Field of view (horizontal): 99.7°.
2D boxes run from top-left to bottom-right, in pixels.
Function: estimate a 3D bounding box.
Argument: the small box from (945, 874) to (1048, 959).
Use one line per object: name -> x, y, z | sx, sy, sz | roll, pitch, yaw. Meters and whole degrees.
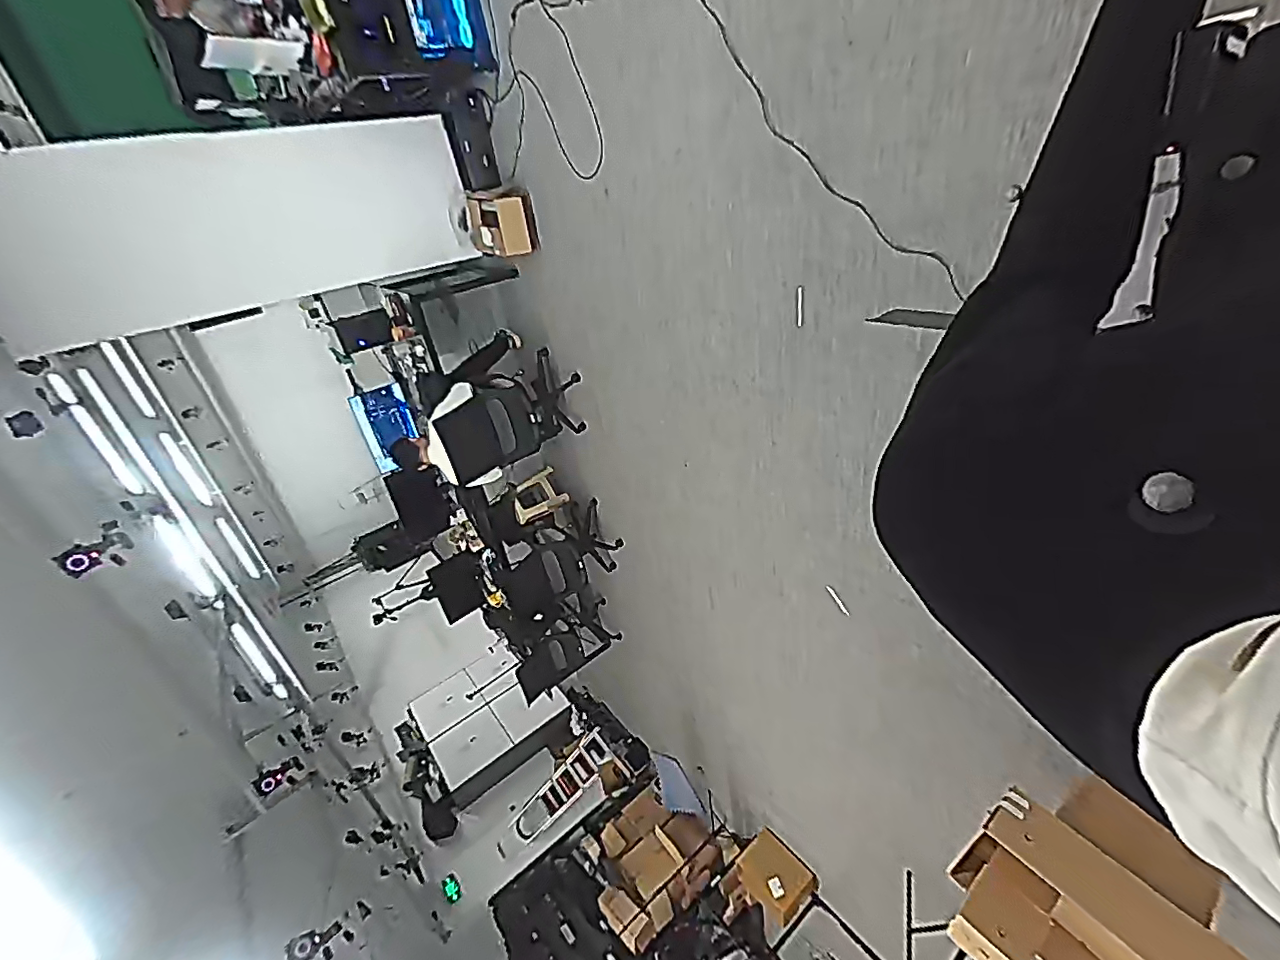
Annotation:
small box -> 1.005, 1.274, 1.525 | 0.179, 0.176, 0.168 | 32, 141, 42
